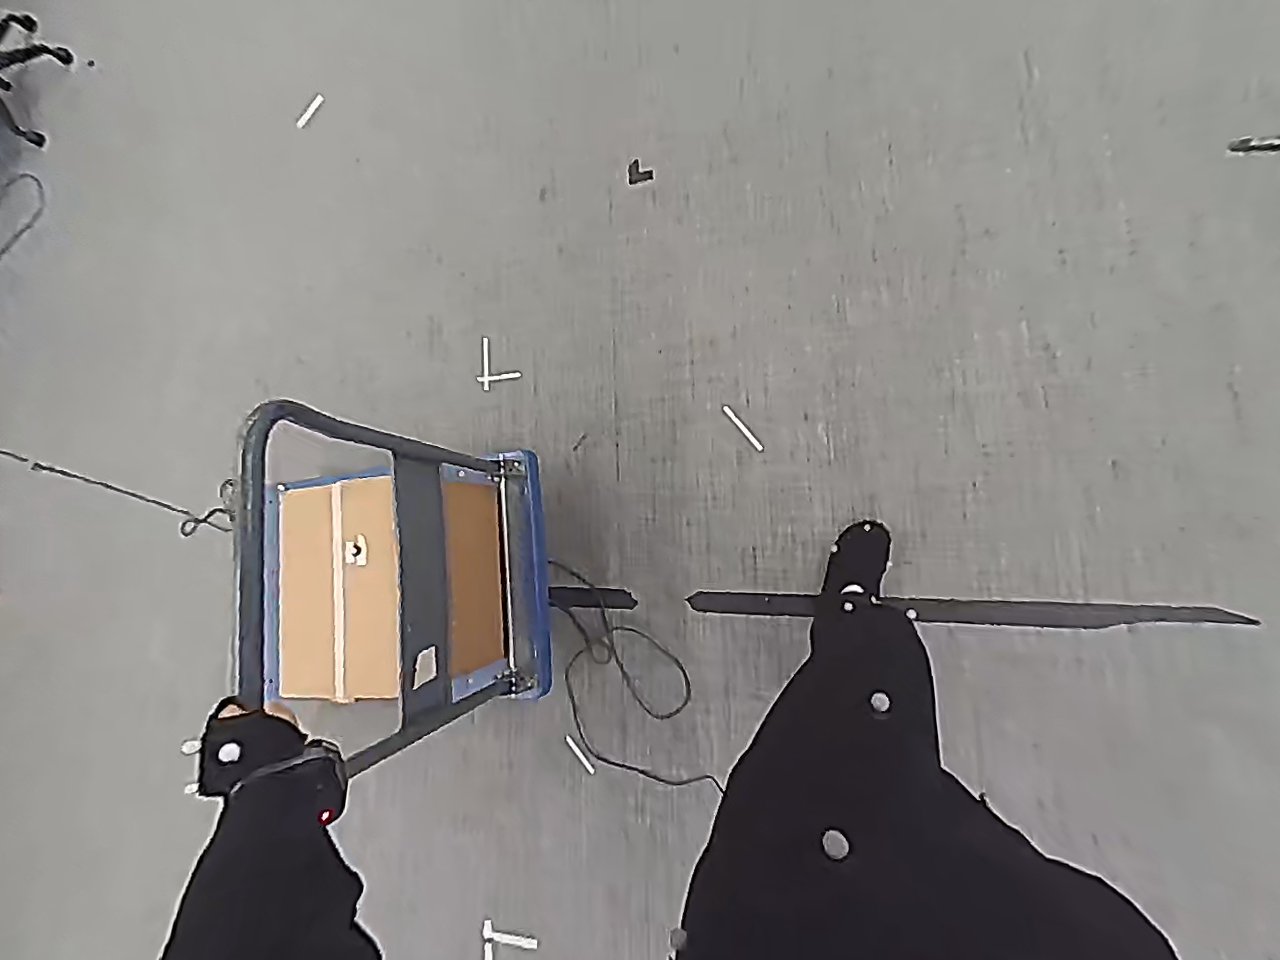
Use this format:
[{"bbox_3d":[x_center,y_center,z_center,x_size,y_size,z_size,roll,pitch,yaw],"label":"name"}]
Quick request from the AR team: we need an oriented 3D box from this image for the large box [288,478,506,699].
[{"bbox_3d":[-0.510,0.226,1.169,0.320,0.320,0.408,-7,82,16],"label":"large box"}]
